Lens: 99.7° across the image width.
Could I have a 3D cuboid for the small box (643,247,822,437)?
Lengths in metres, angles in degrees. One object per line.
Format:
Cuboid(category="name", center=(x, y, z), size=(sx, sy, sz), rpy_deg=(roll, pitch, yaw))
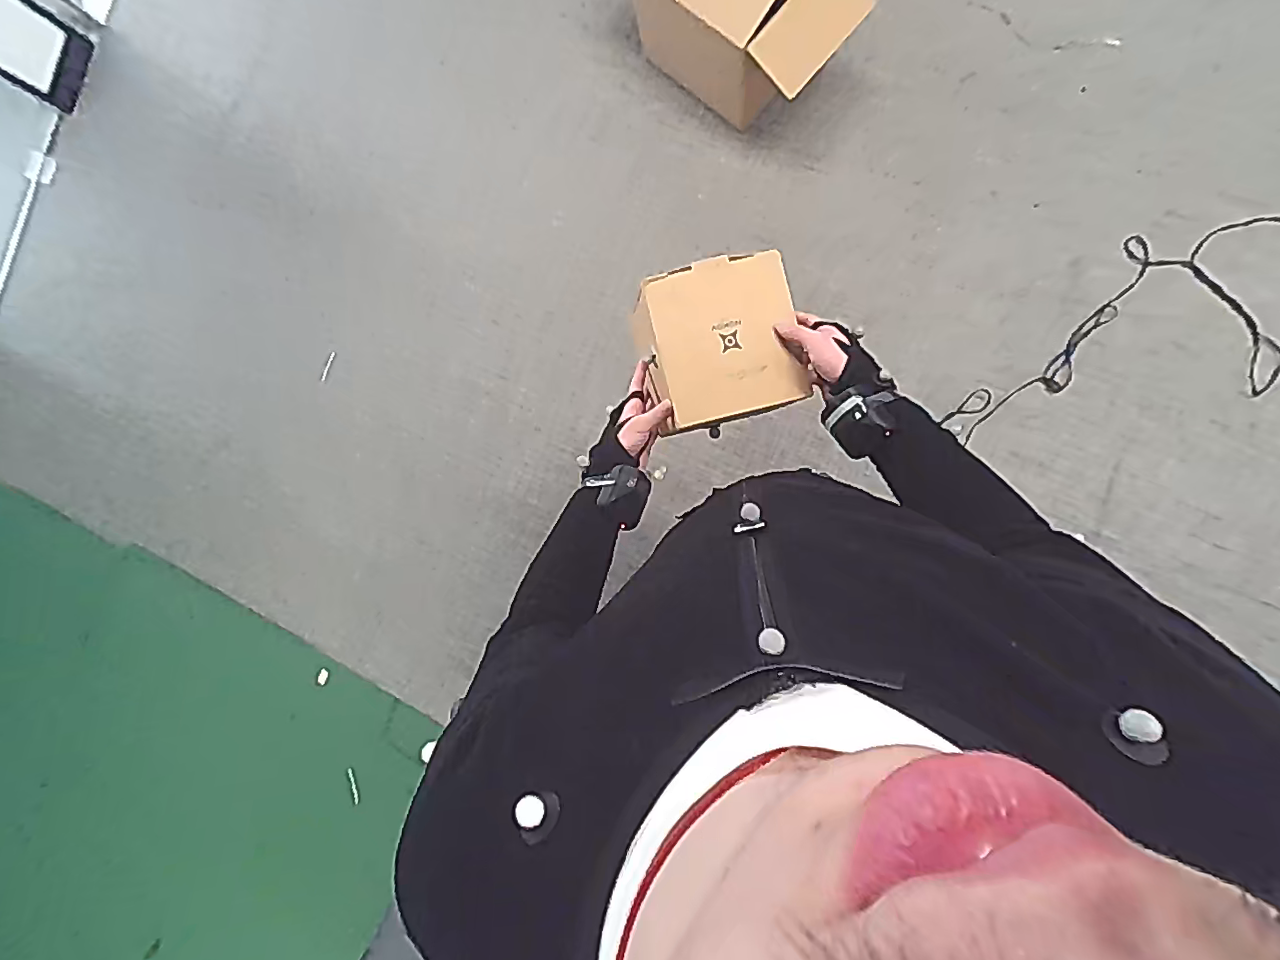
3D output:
Cuboid(category="small box", center=(0.102, -0.159, 0.676), size=(0.168, 0.176, 0.179), rpy_deg=(-12, 91, -3))
